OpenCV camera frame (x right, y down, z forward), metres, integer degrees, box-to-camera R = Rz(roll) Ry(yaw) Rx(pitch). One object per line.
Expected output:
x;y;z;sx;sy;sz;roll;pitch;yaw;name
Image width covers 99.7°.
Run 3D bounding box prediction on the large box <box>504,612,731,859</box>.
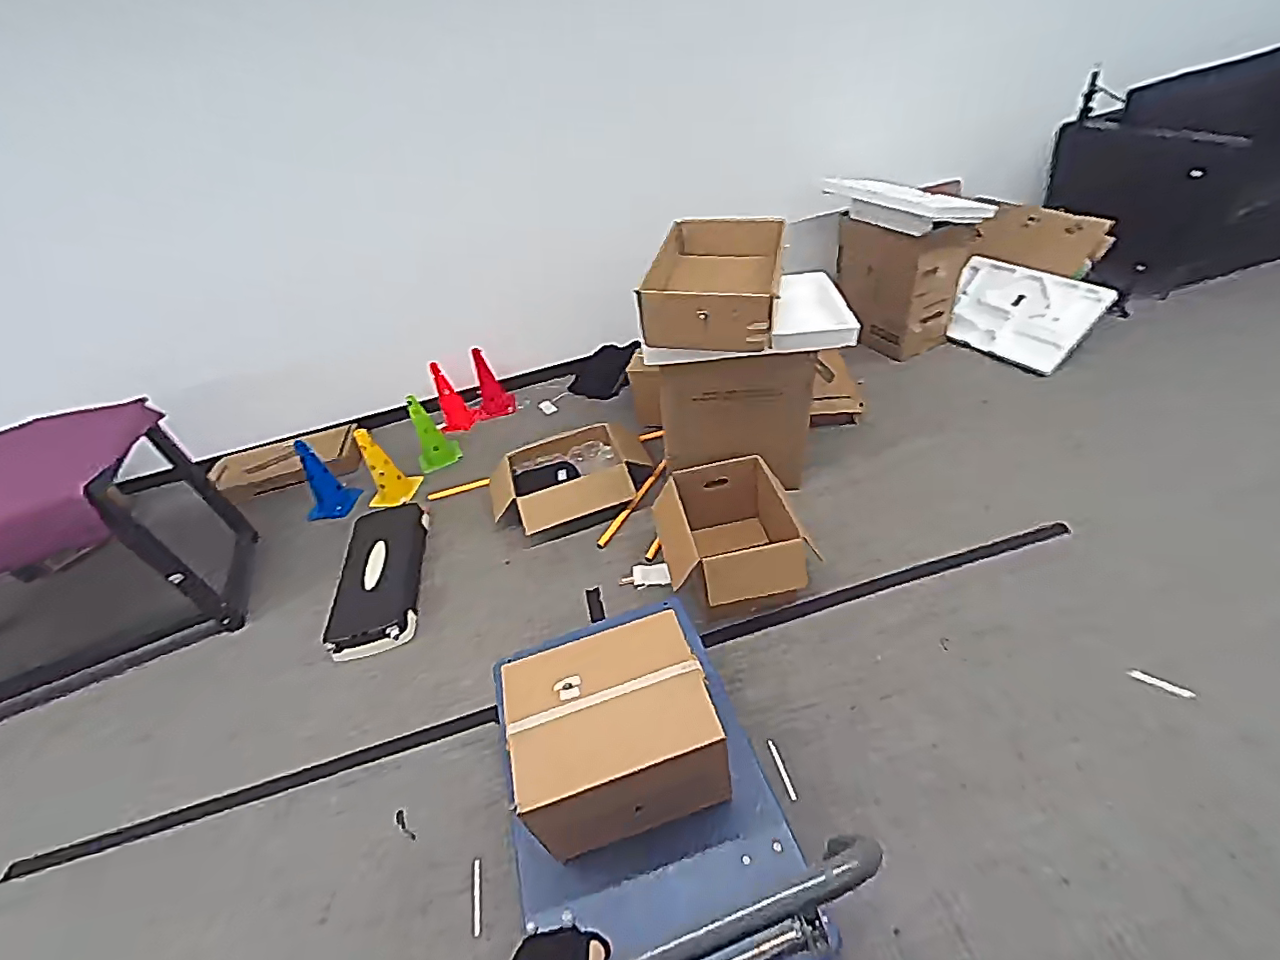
-0.046;0.564;1.208;0.408;0.320;0.320;-18;40;-6;large box
